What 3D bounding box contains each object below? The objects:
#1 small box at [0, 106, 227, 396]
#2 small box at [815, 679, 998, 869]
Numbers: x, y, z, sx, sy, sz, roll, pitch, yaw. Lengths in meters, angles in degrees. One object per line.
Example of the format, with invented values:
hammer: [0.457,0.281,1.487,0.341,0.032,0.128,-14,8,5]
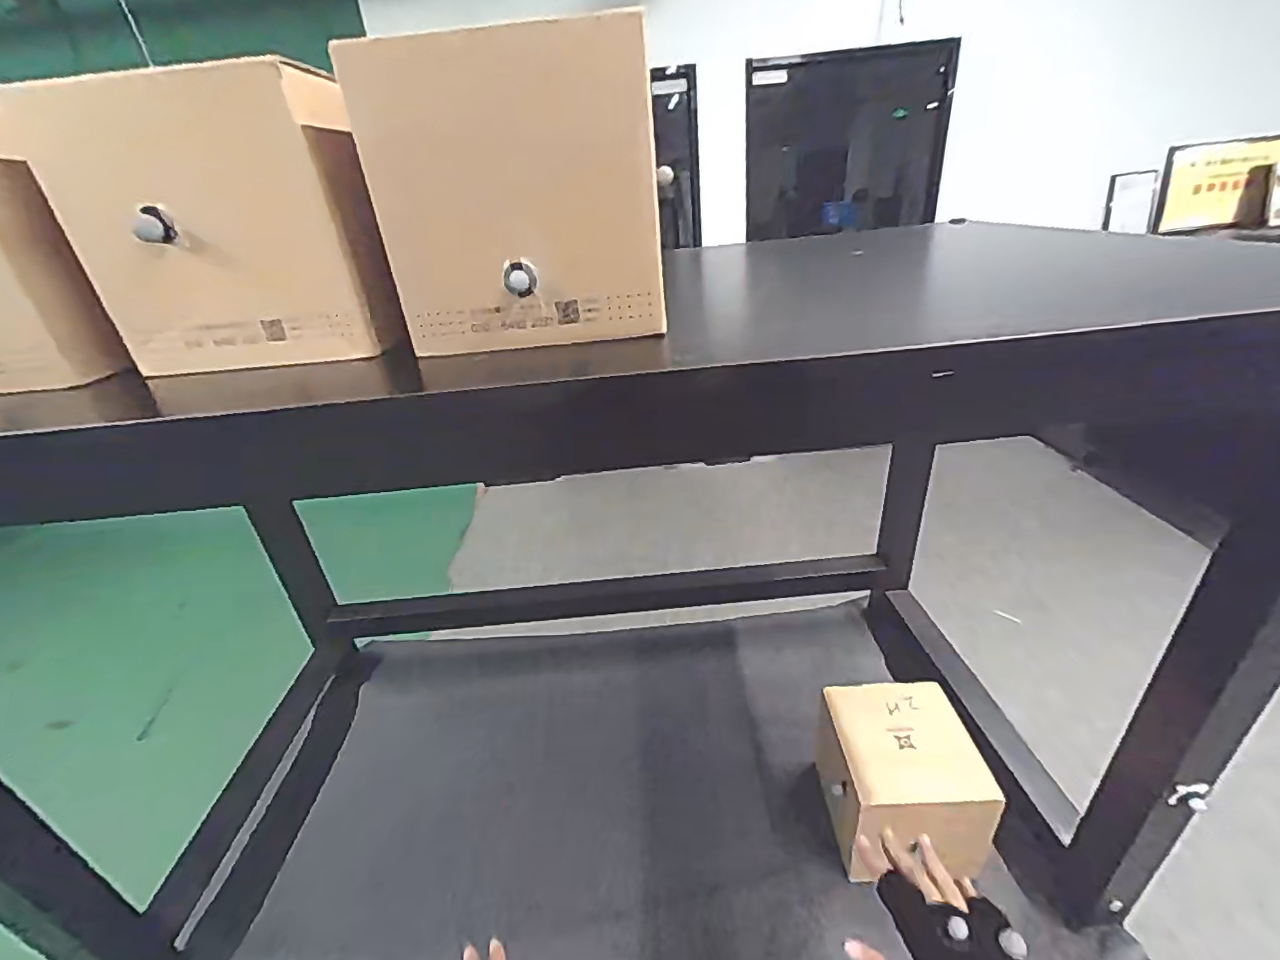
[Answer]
small box: [-0.461,-0.166,0.405,0.168,0.176,0.179,-5,29,2]
small box: [0.347,0.401,0.742,0.168,0.176,0.179,-3,28,4]
